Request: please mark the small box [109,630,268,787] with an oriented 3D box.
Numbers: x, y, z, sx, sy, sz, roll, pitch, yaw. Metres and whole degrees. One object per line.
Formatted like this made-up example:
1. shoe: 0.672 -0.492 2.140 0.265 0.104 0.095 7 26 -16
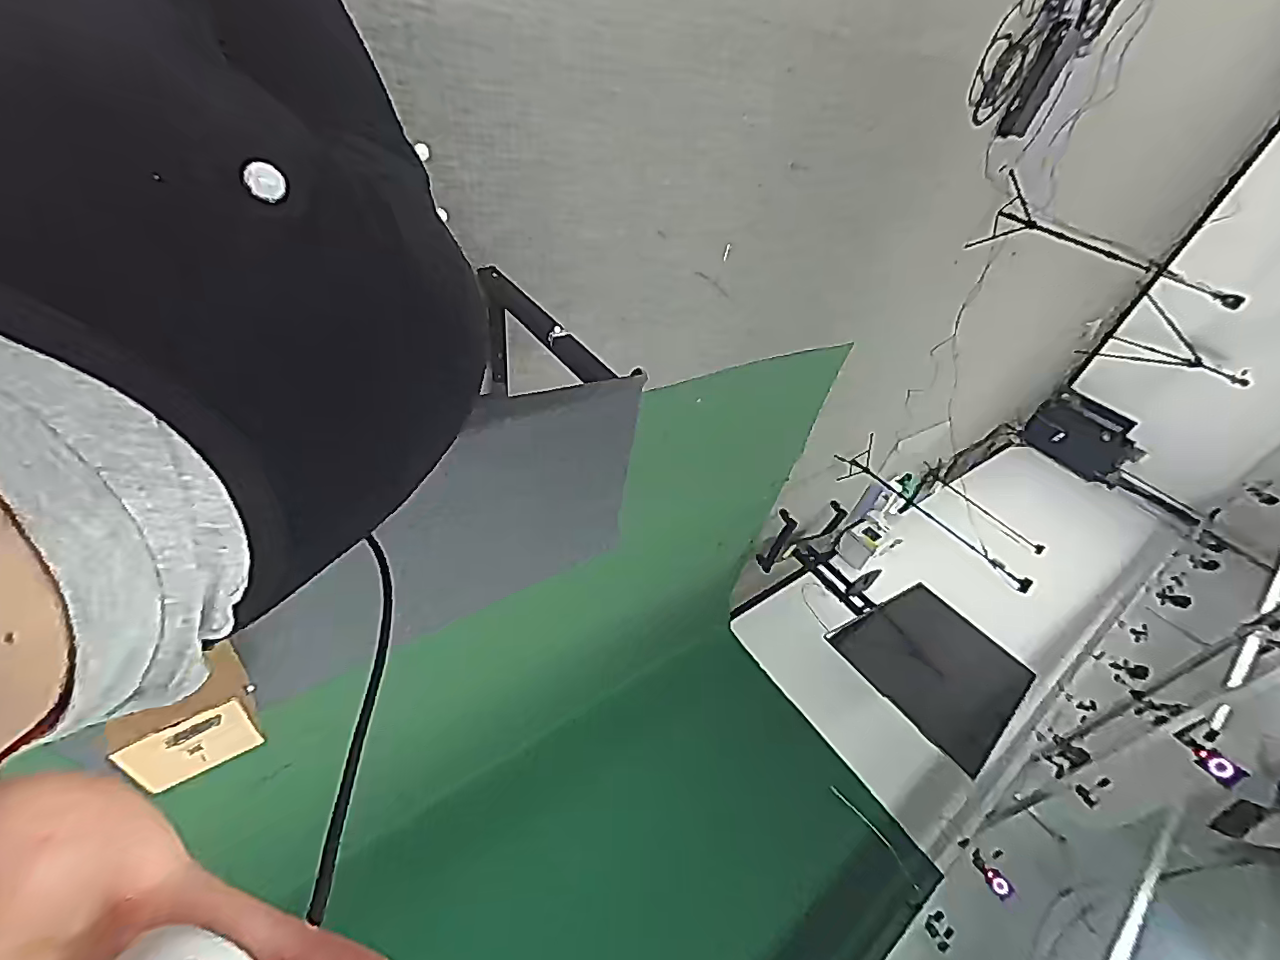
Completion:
1. small box: -0.796 0.394 0.959 0.168 0.176 0.179 -21 142 -33
